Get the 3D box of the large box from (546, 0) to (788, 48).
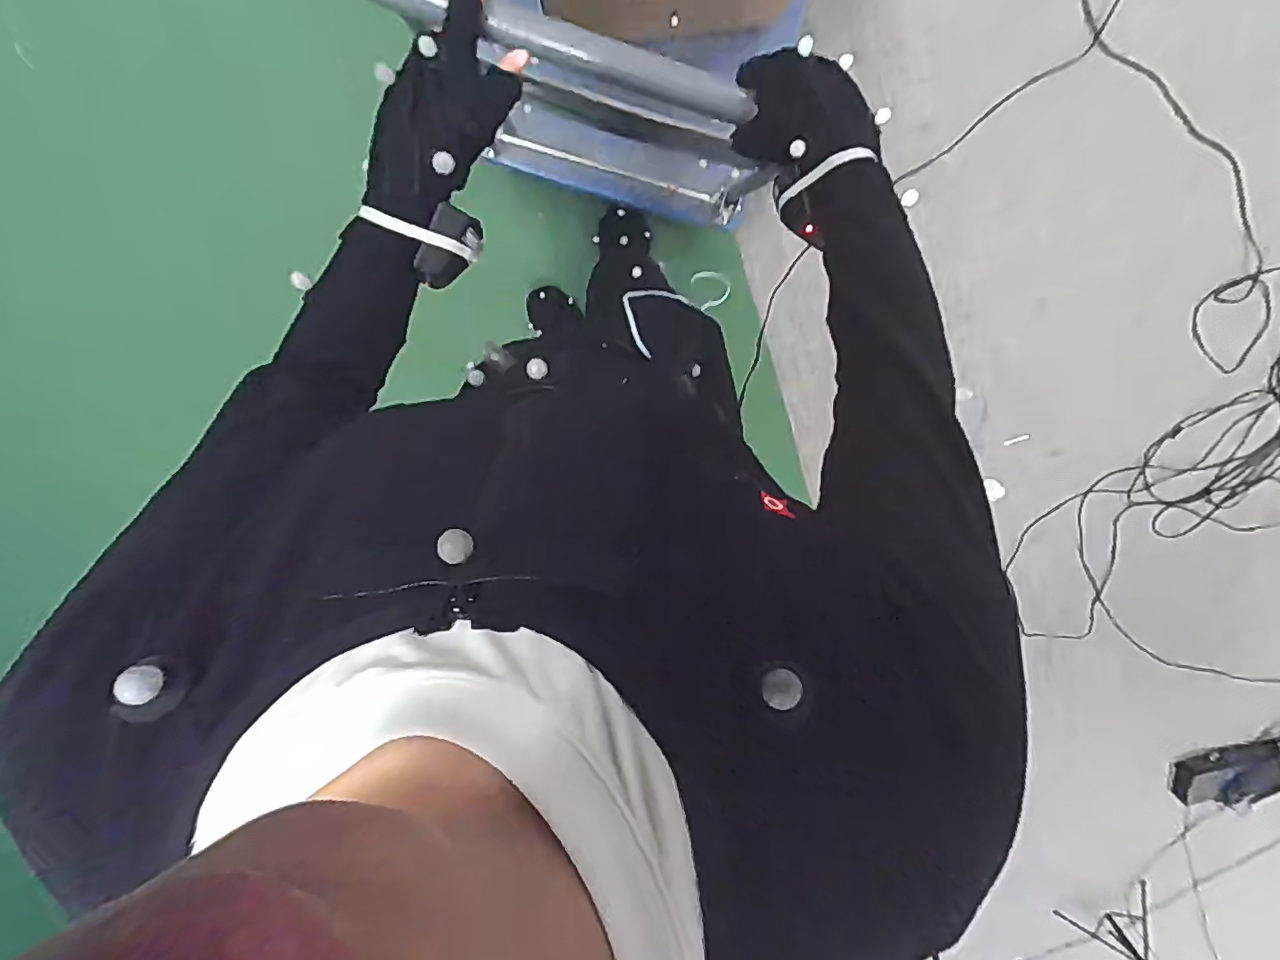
[{"bbox_3d":[0.041,-0.890,0.802,0.408,0.320,0.320,-7,116,0],"label":"large box"}]
